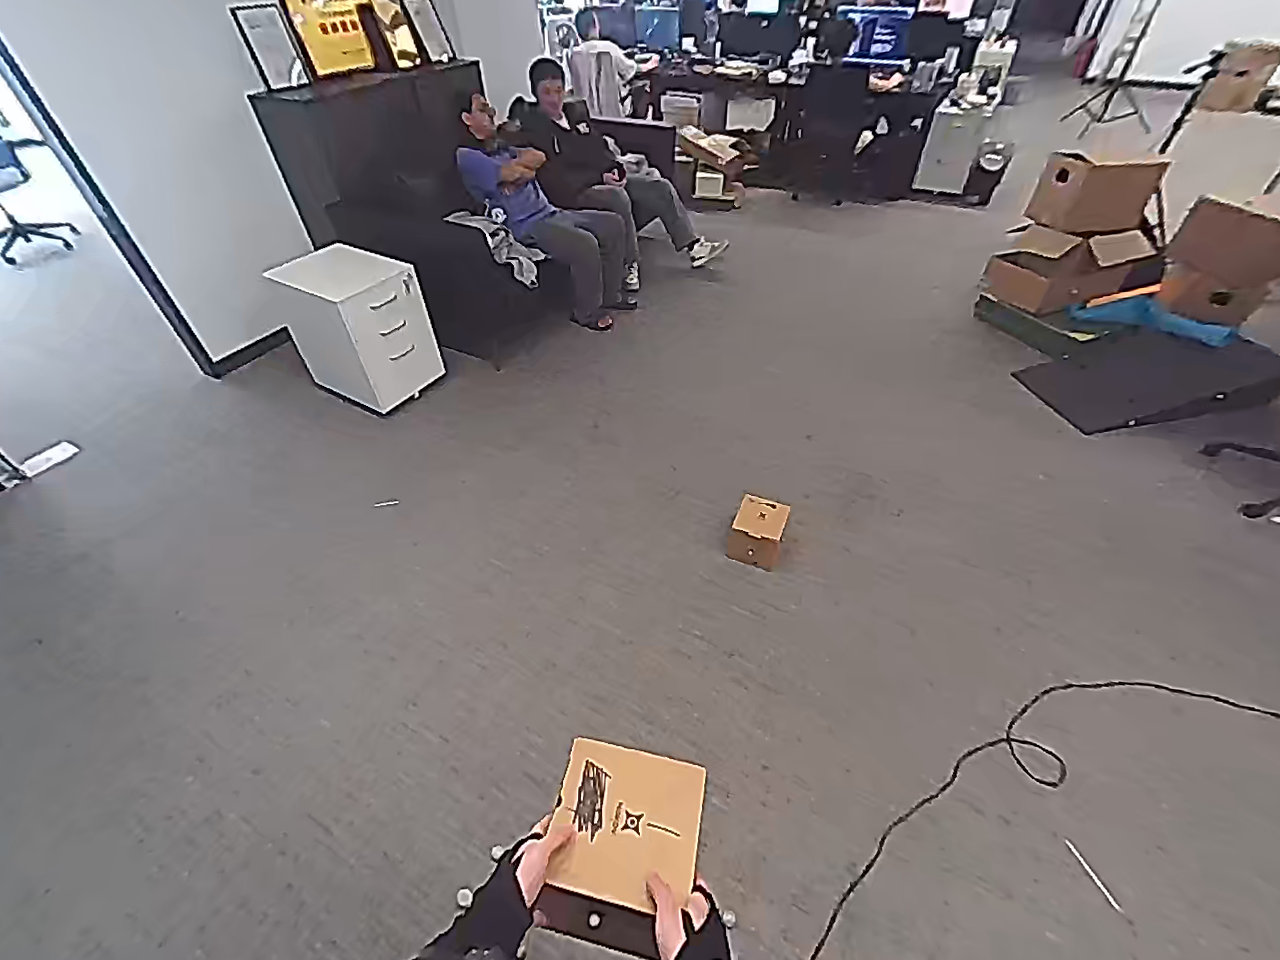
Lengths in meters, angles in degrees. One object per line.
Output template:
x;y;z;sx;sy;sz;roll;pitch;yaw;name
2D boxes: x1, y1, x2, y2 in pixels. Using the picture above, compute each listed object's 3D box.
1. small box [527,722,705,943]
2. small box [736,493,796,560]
-0.024;0.449;0.692;0.179;0.176;0.168;11;39;12;small box
0.442;0.170;1.926;0.179;0.176;0.168;-6;42;-2;small box
